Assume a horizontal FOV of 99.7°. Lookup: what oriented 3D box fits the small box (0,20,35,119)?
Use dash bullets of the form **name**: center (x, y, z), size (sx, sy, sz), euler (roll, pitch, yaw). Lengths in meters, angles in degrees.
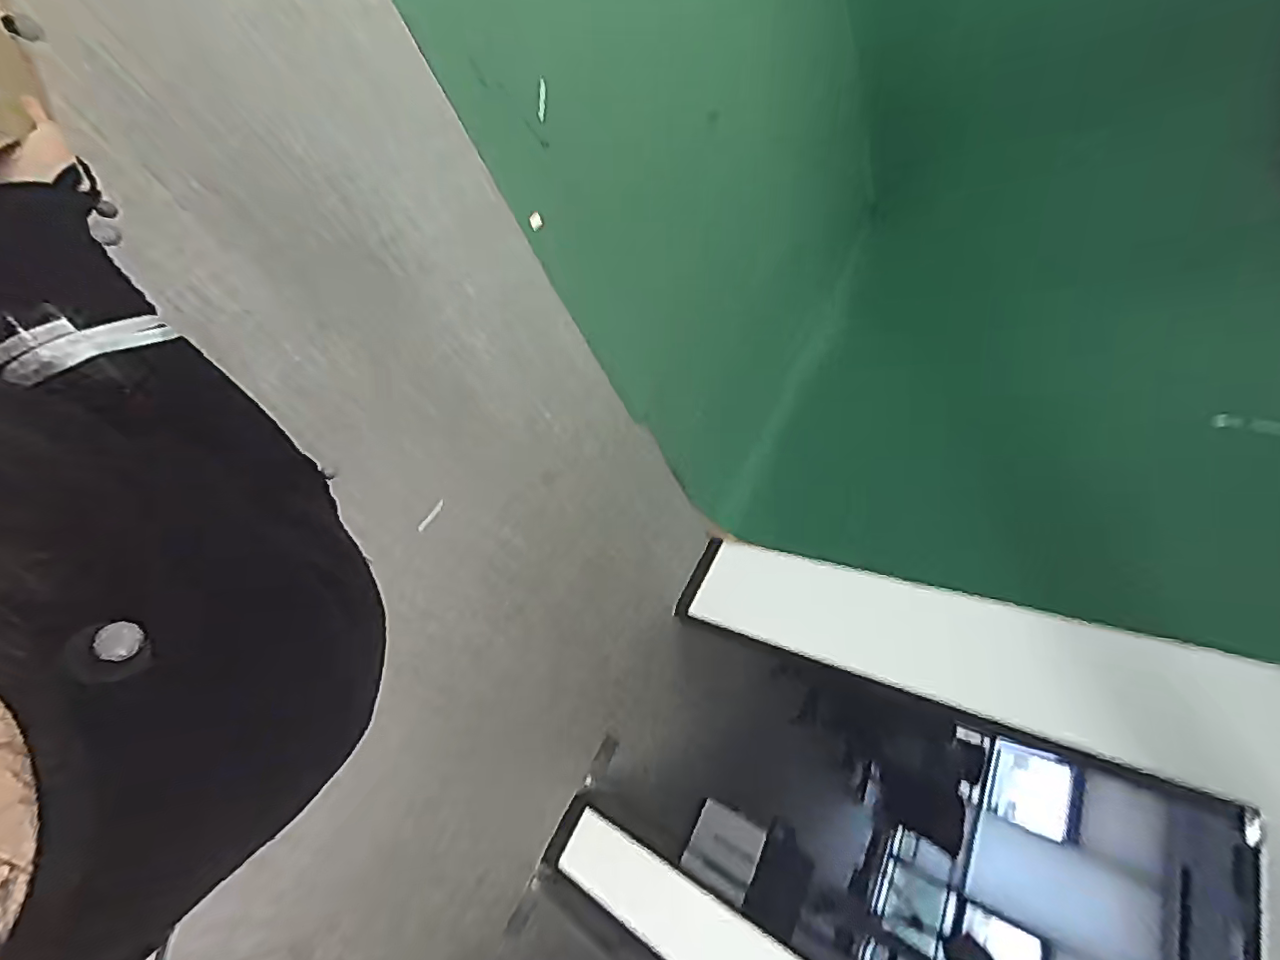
- **small box**: center (-0.524, -0.307, 0.311), size (0.179, 0.176, 0.168), euler (-16, 131, -28)
